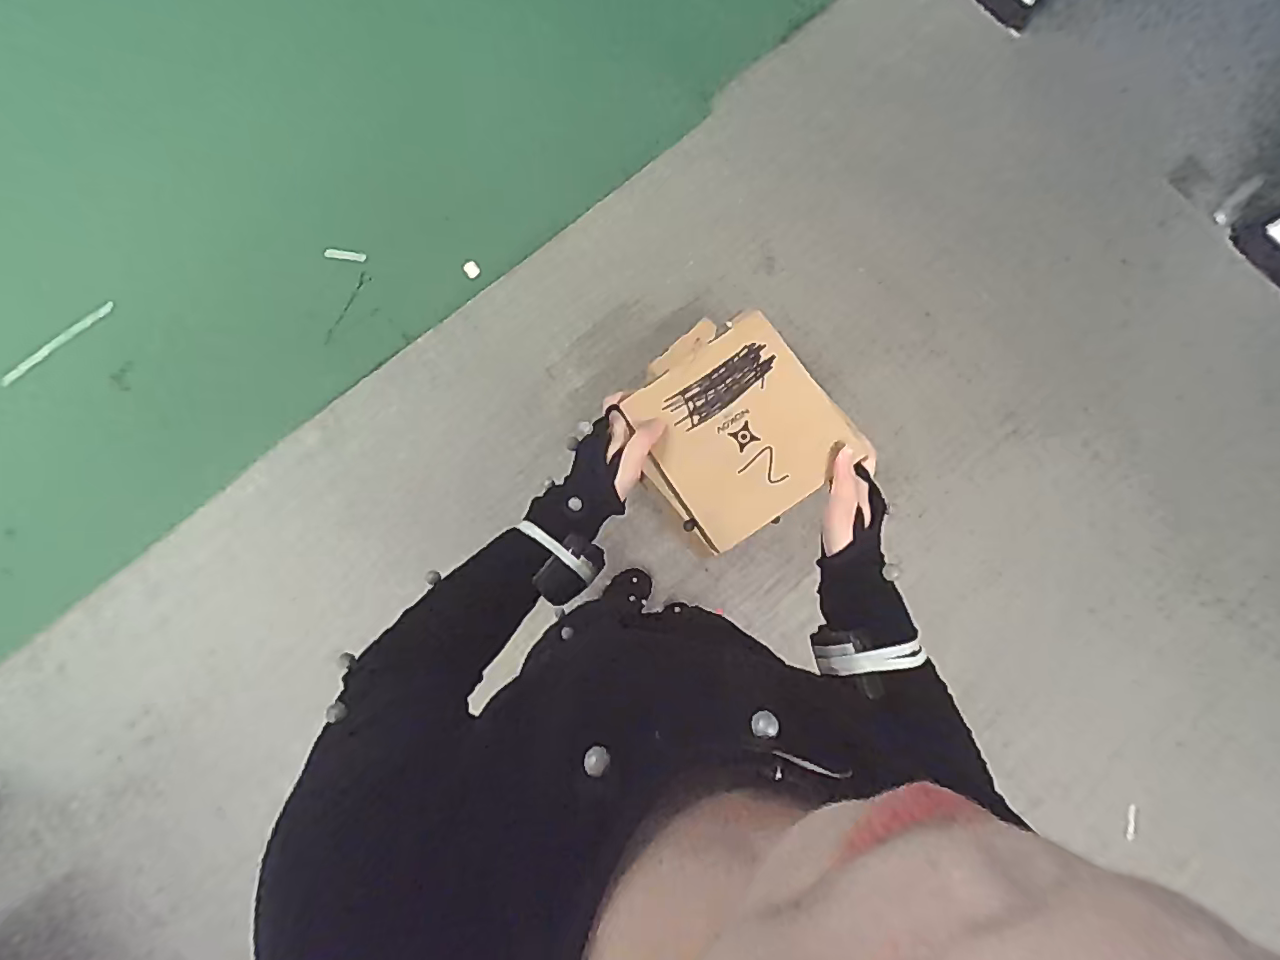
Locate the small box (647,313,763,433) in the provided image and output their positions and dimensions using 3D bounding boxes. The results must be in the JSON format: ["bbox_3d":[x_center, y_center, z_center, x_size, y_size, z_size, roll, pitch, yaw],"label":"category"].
[{"bbox_3d":[0.133,-0.220,1.174,0.168,0.176,0.179,-41,85,-8],"label":"small box"}]
